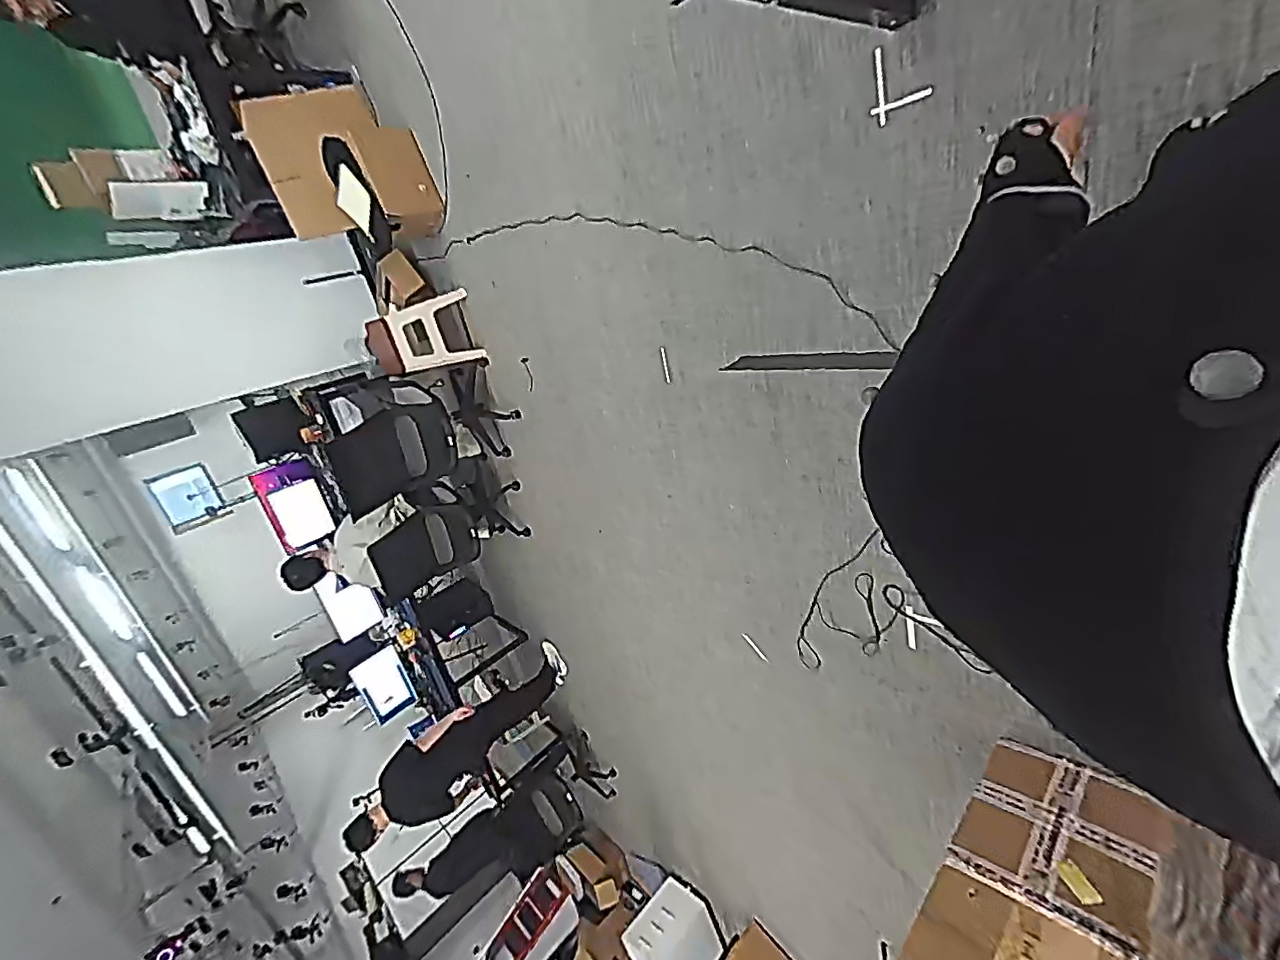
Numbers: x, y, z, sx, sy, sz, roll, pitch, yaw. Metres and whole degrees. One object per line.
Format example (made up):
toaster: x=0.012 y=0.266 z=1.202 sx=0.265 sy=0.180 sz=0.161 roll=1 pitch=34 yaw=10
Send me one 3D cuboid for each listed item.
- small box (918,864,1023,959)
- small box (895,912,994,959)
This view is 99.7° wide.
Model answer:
small box: x=0.847 y=1.139 z=1.385 sx=0.179 sy=0.176 sz=0.168 roll=1 pitch=111 yaw=51
small box: x=0.728 y=1.192 z=1.283 sx=0.179 sy=0.176 sz=0.168 roll=1 pitch=111 yaw=50
